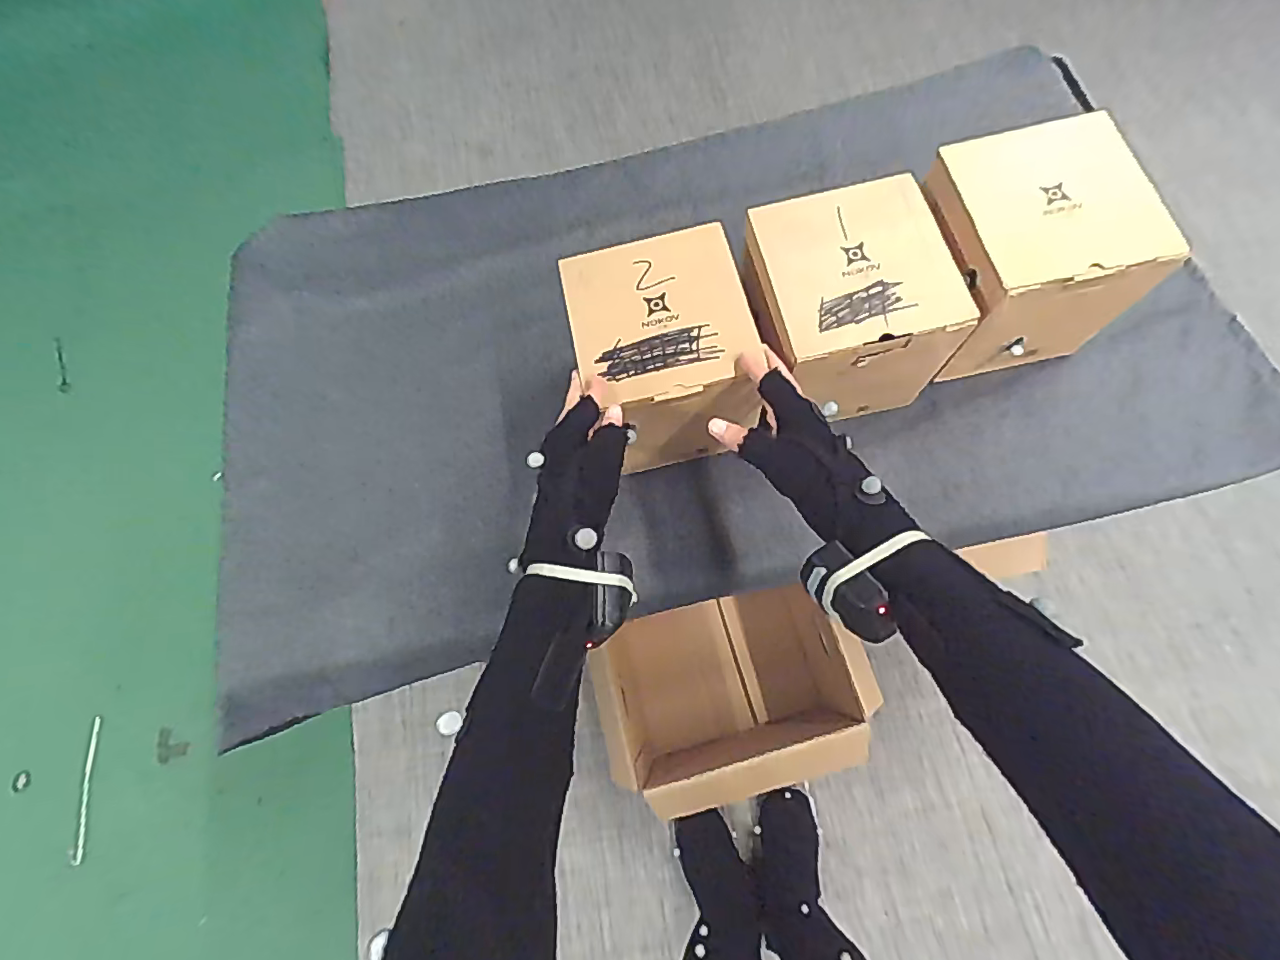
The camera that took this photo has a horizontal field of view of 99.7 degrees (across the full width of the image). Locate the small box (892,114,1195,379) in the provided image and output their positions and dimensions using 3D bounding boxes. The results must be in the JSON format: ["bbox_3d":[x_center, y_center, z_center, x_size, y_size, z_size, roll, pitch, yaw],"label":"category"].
[{"bbox_3d":[0.396,-0.235,0.575,0.168,0.176,0.179,-12,72,2],"label":"small box"}]
